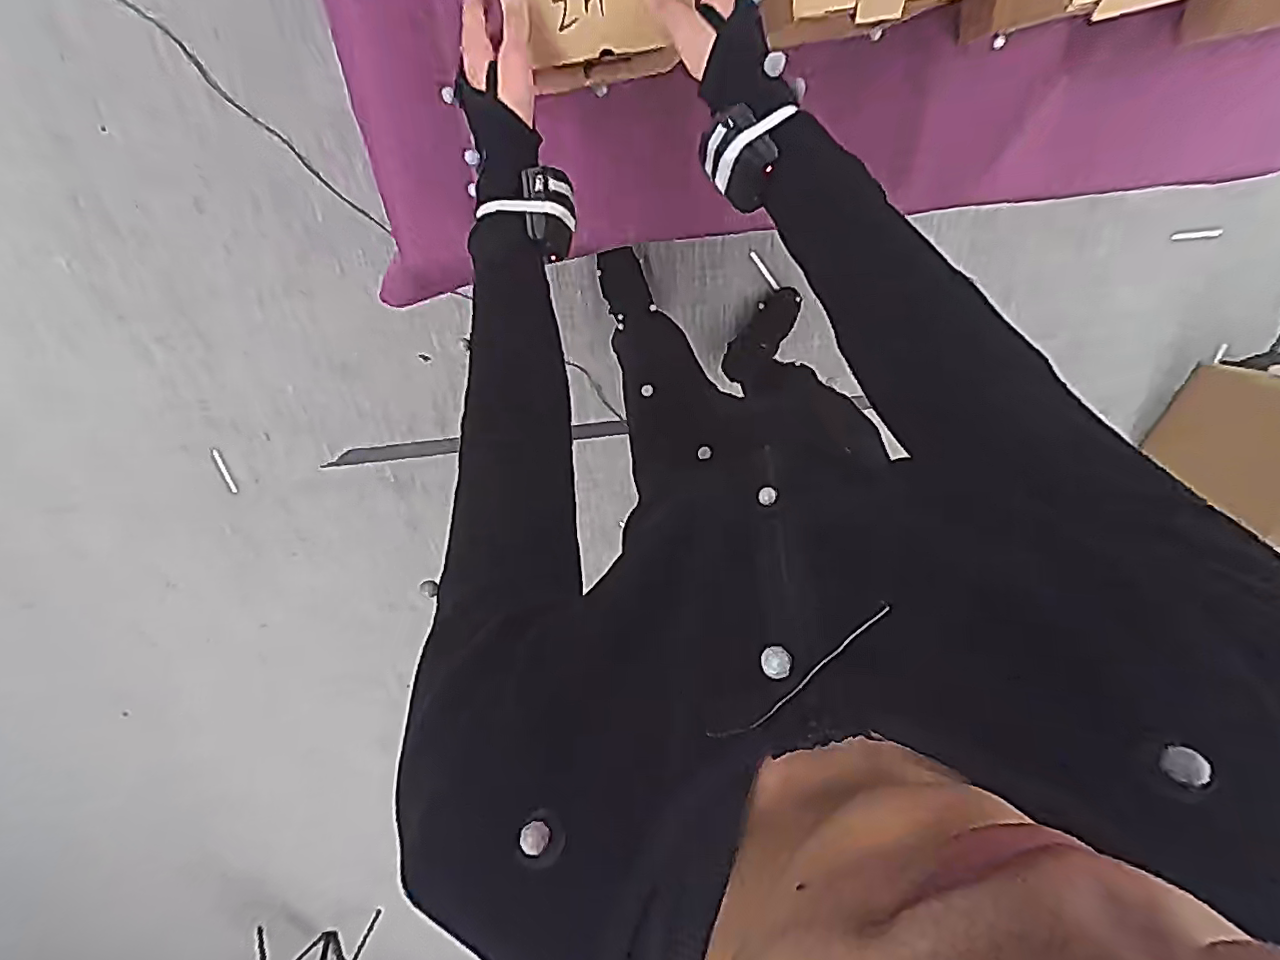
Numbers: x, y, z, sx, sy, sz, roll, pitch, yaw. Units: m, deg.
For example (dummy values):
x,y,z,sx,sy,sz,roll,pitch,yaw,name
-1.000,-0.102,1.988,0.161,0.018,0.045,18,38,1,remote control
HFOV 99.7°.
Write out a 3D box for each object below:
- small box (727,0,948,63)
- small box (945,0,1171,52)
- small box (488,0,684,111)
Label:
x,y,z,sx,sy,sz,roll,pitch,yaw,name
0.184,-0.528,0.524,0.168,0.176,0.179,-10,119,-3,small box
0.435,-0.560,0.541,0.168,0.176,0.179,-15,119,0,small box
-0.061,-0.475,0.514,0.168,0.176,0.179,-11,120,-1,small box
